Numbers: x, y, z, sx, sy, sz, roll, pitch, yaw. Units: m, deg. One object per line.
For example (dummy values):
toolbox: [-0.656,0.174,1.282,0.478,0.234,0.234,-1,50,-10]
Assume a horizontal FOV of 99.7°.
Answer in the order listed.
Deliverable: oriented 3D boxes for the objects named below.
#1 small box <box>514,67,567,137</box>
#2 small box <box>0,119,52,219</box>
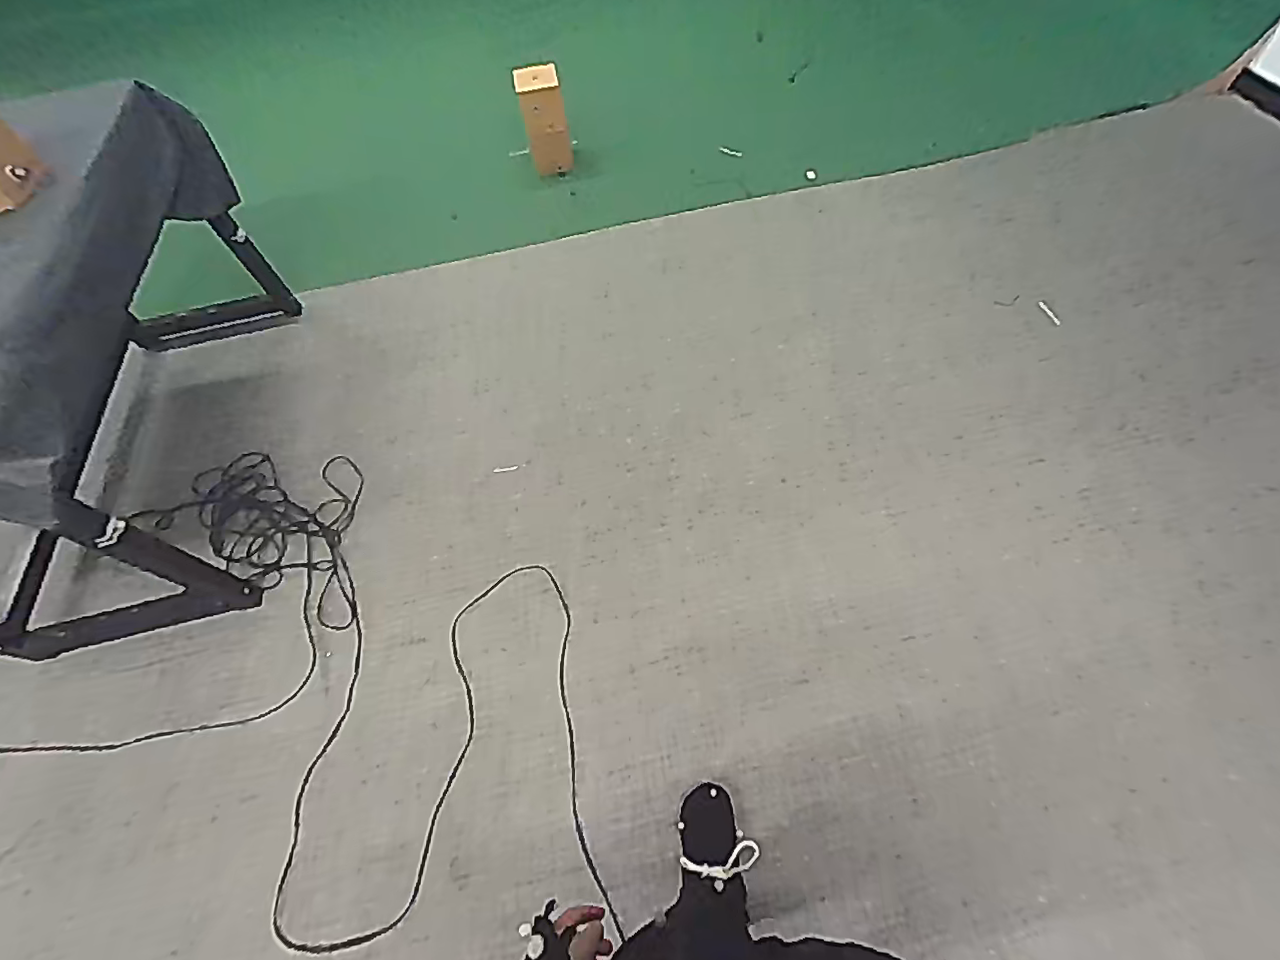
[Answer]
small box: [-0.391,-1.489,2.143,0.168,0.176,0.179,-12,60,-2]
small box: [-1.367,-0.636,1.079,0.179,0.176,0.168,-12,61,-3]
